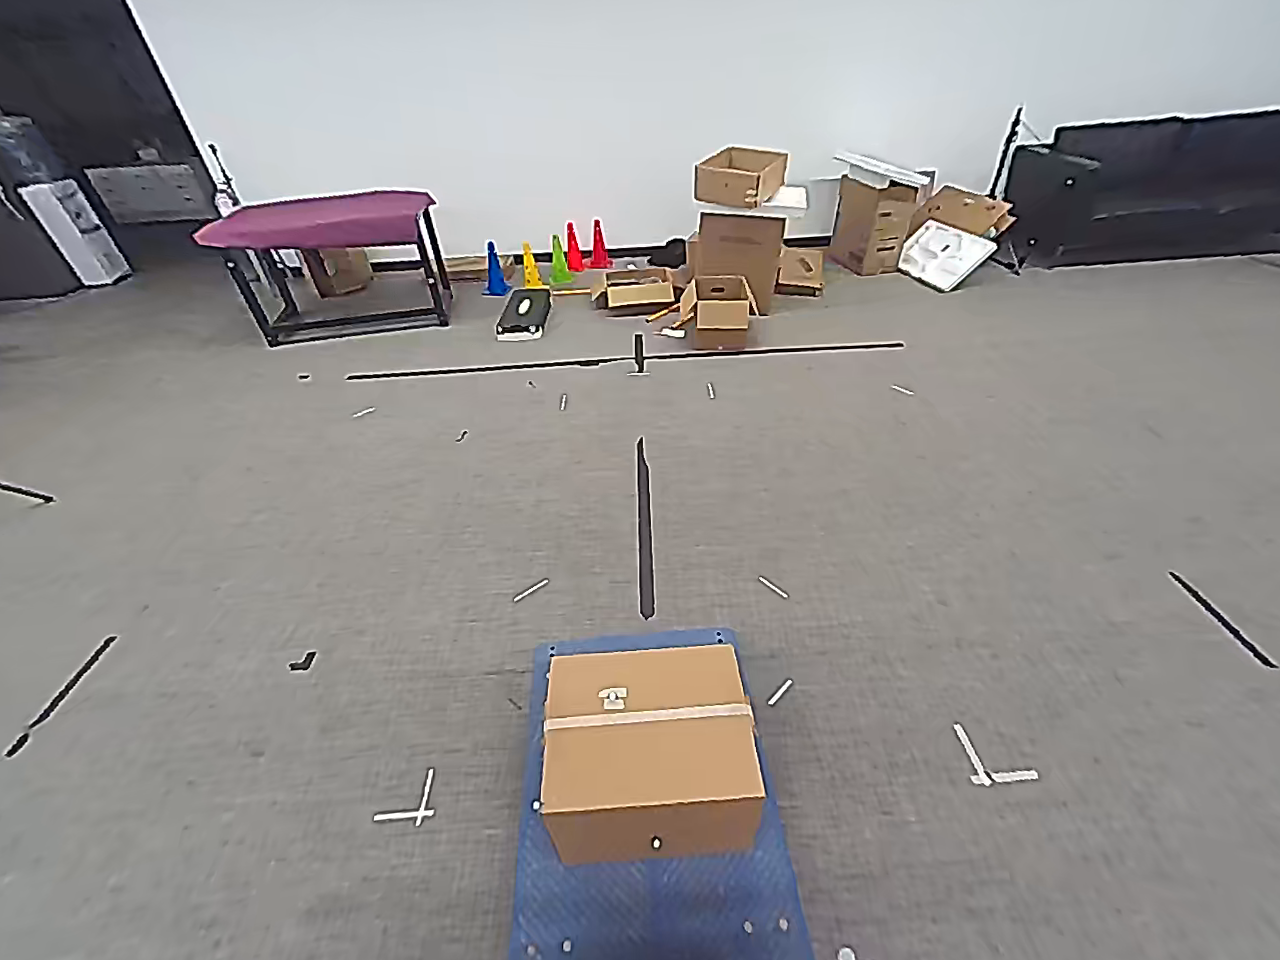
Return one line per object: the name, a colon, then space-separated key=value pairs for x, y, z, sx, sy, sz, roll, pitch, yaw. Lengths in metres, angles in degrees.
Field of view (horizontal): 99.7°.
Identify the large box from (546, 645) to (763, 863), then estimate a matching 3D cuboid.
large box: x=0.027 y=0.600 z=1.187 sx=0.408 sy=0.320 sz=0.320 roll=-5 pitch=39 yaw=0
